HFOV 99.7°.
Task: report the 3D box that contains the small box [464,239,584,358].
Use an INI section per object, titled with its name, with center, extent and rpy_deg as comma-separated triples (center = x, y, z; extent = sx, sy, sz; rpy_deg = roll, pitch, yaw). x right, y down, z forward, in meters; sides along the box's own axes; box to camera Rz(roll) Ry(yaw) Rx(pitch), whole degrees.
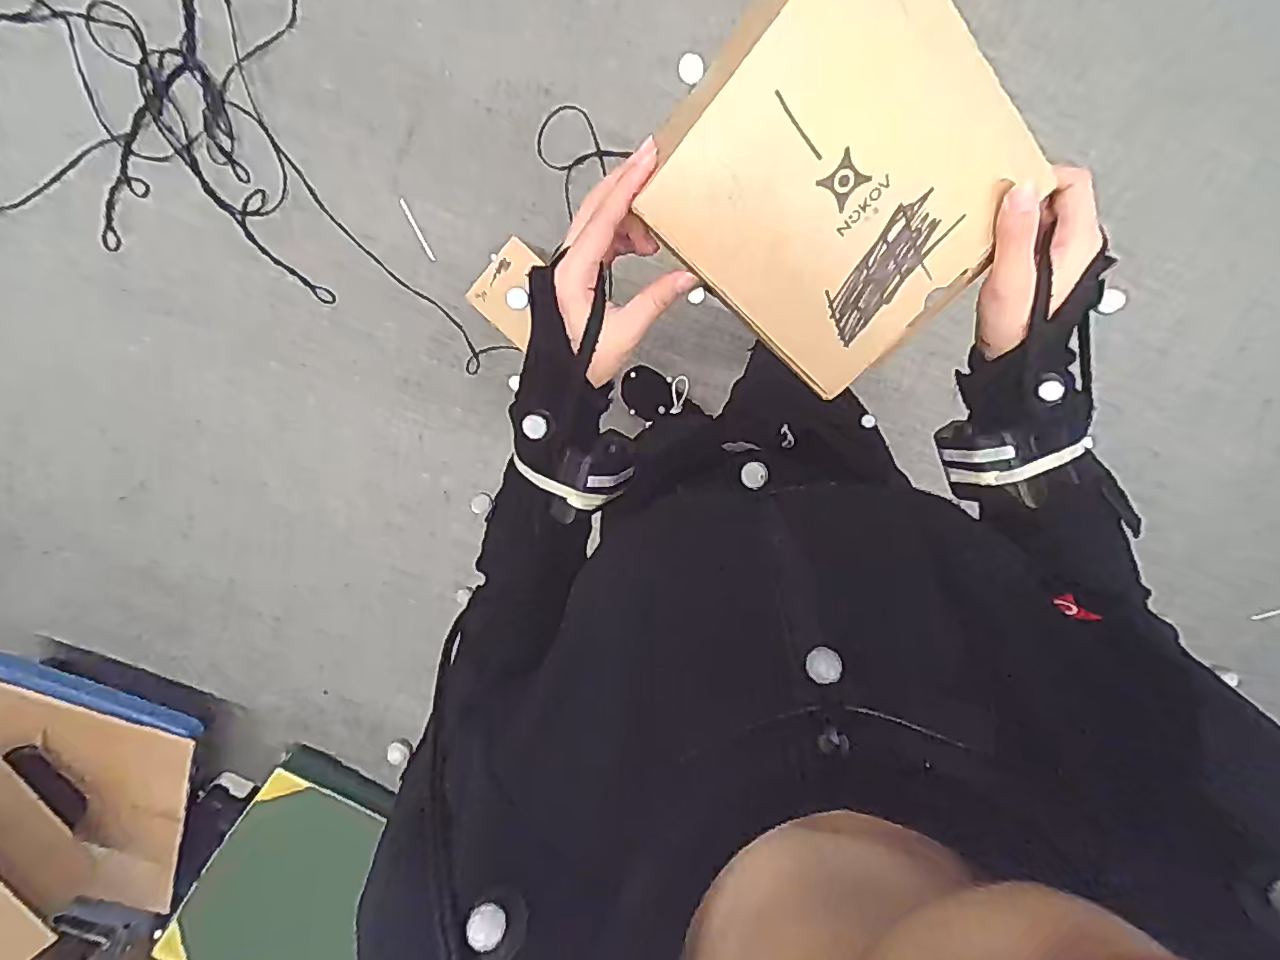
[small box]
center = -0.241, -0.392, 1.179
extent = 0.179, 0.176, 0.168
rpy_deg = 43, 103, -9
